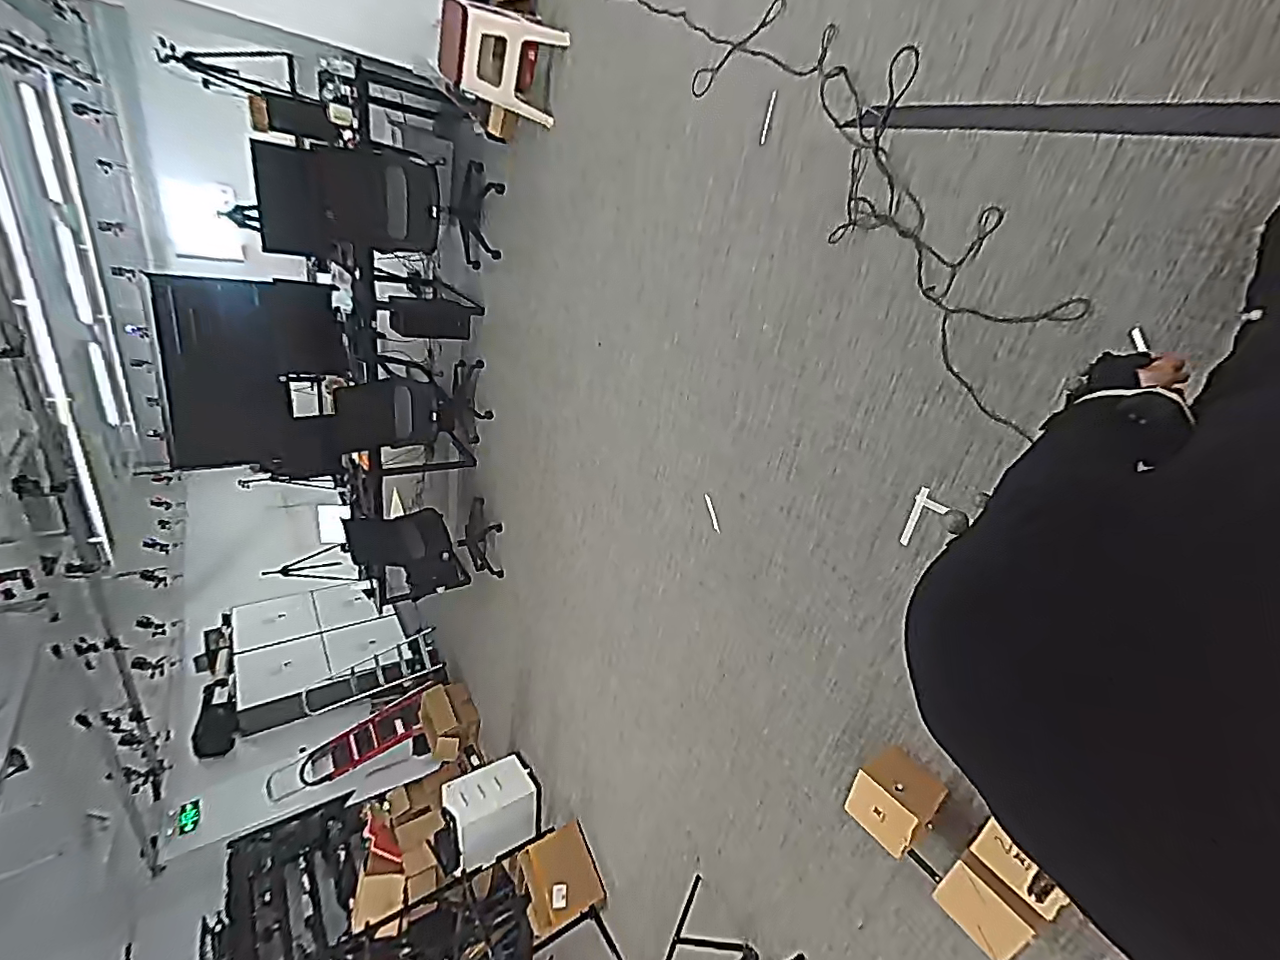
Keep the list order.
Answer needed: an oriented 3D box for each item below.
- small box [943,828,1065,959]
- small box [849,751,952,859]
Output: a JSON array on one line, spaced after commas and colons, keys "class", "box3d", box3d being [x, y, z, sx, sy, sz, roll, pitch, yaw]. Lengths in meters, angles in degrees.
[{"class": "small box", "box3d": [0.875, 1.011, 1.317, 0.179, 0.176, 0.168, 40, 128, 44]}, {"class": "small box", "box3d": [0.725, 0.893, 1.510, 0.179, 0.176, 0.168, 33, 123, 46]}]
